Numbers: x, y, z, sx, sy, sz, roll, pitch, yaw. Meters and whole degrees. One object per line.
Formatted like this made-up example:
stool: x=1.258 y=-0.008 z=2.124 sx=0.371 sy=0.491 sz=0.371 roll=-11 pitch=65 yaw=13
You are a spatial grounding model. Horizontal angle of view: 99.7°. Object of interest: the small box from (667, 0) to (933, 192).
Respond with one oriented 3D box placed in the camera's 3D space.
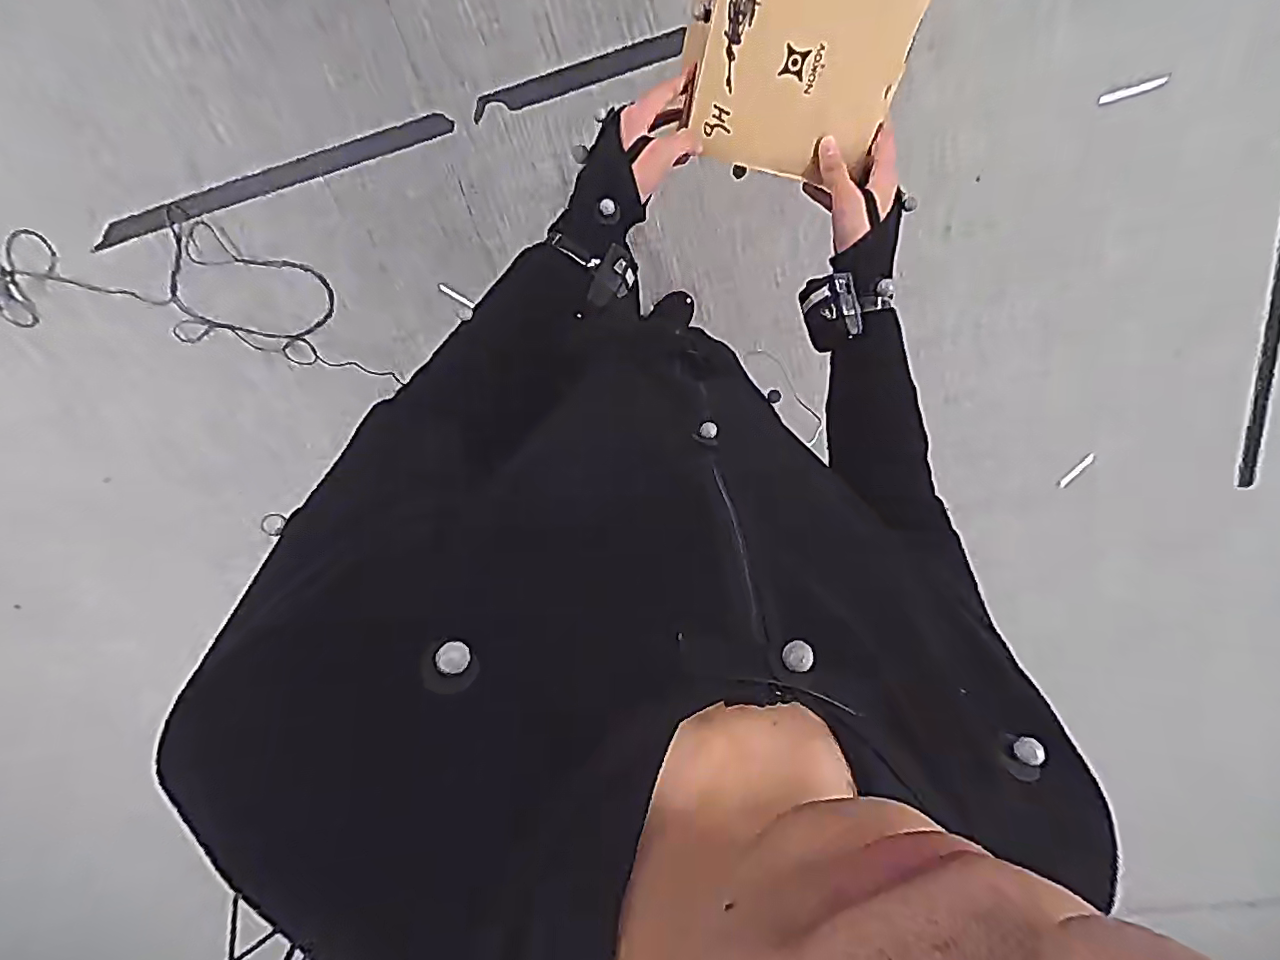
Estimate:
small box: x=0.135 y=-0.401 z=0.525 sx=0.179 sy=0.176 sz=0.168 roll=8 pitch=125 yaw=-10
